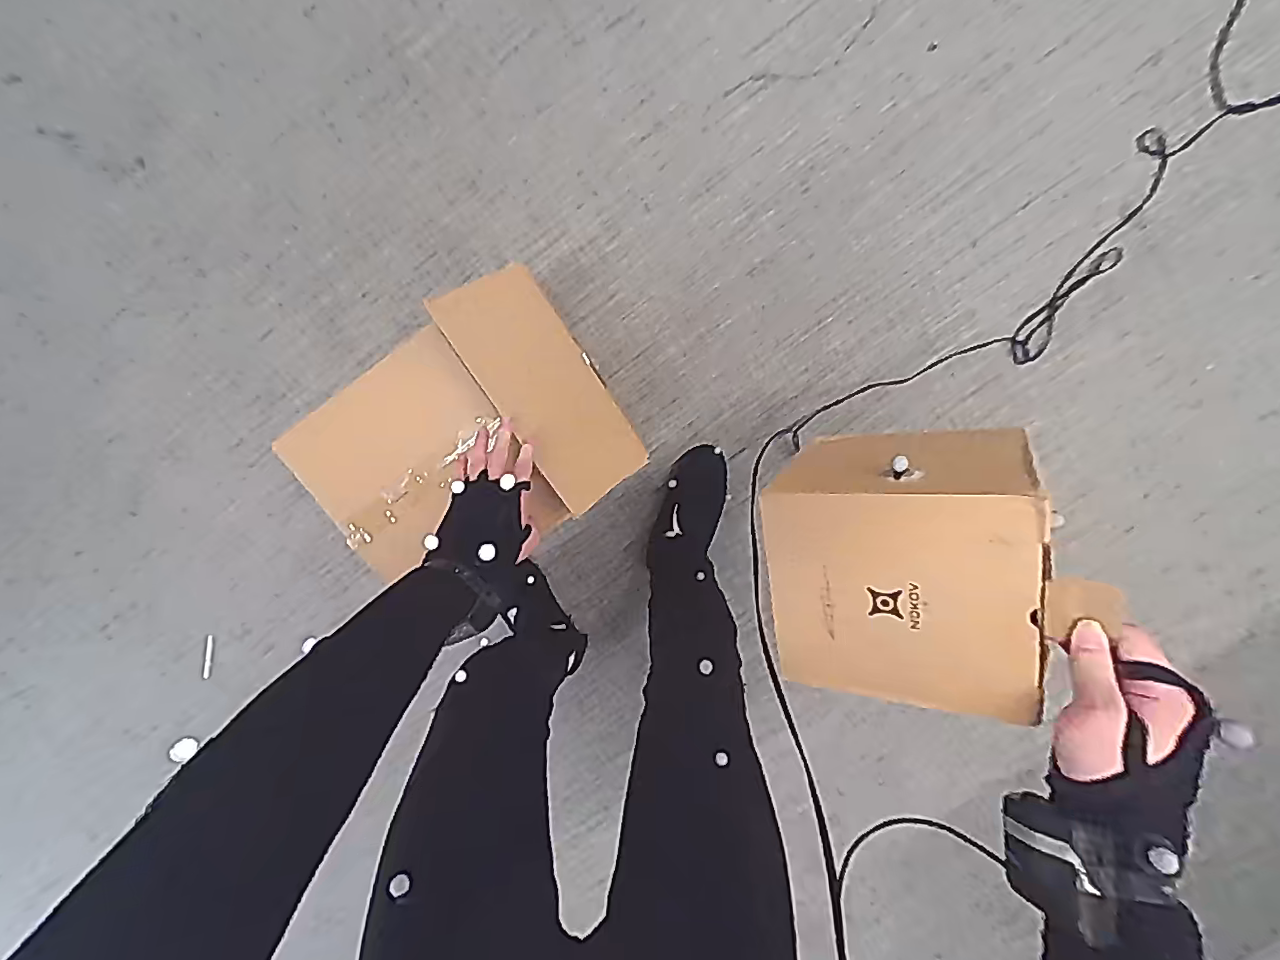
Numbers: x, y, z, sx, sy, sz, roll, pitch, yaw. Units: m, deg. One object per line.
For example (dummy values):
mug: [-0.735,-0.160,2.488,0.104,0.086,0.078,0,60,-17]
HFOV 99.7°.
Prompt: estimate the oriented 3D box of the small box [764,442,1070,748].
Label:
small box: [0.209,0.067,0.429,0.179,0.176,0.168,3,108,30]
